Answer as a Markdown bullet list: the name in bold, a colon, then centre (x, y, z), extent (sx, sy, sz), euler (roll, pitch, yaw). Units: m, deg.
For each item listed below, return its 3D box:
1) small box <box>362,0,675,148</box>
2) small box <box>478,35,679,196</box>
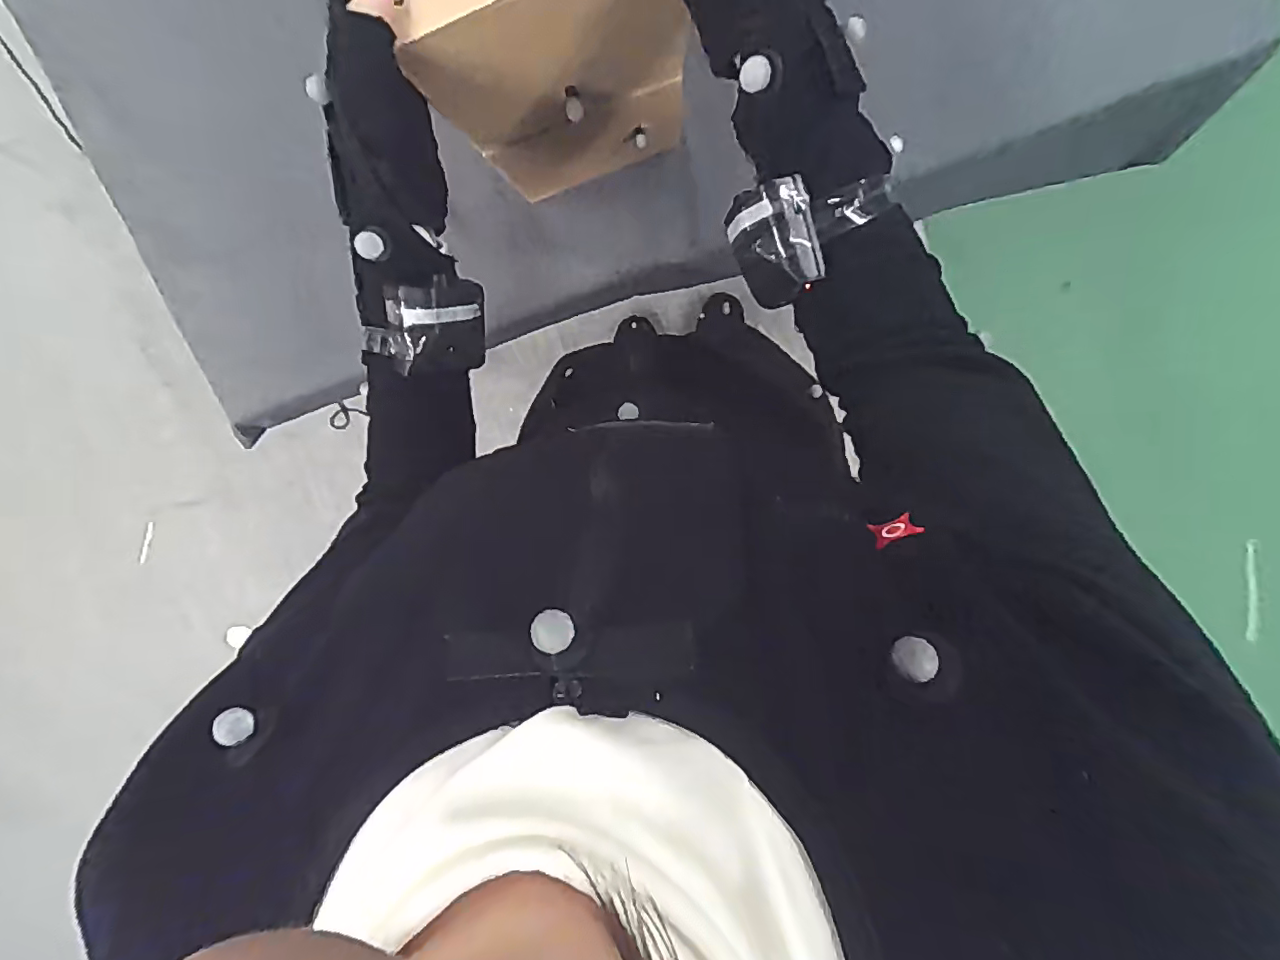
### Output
- **small box**: centre (-0.082, -0.349, 0.341), extent (0.179, 0.176, 0.168), euler (-20, 104, 8)
- **small box**: centre (-0.072, -0.392, 0.496), extent (0.179, 0.176, 0.168), euler (-18, 103, 9)
